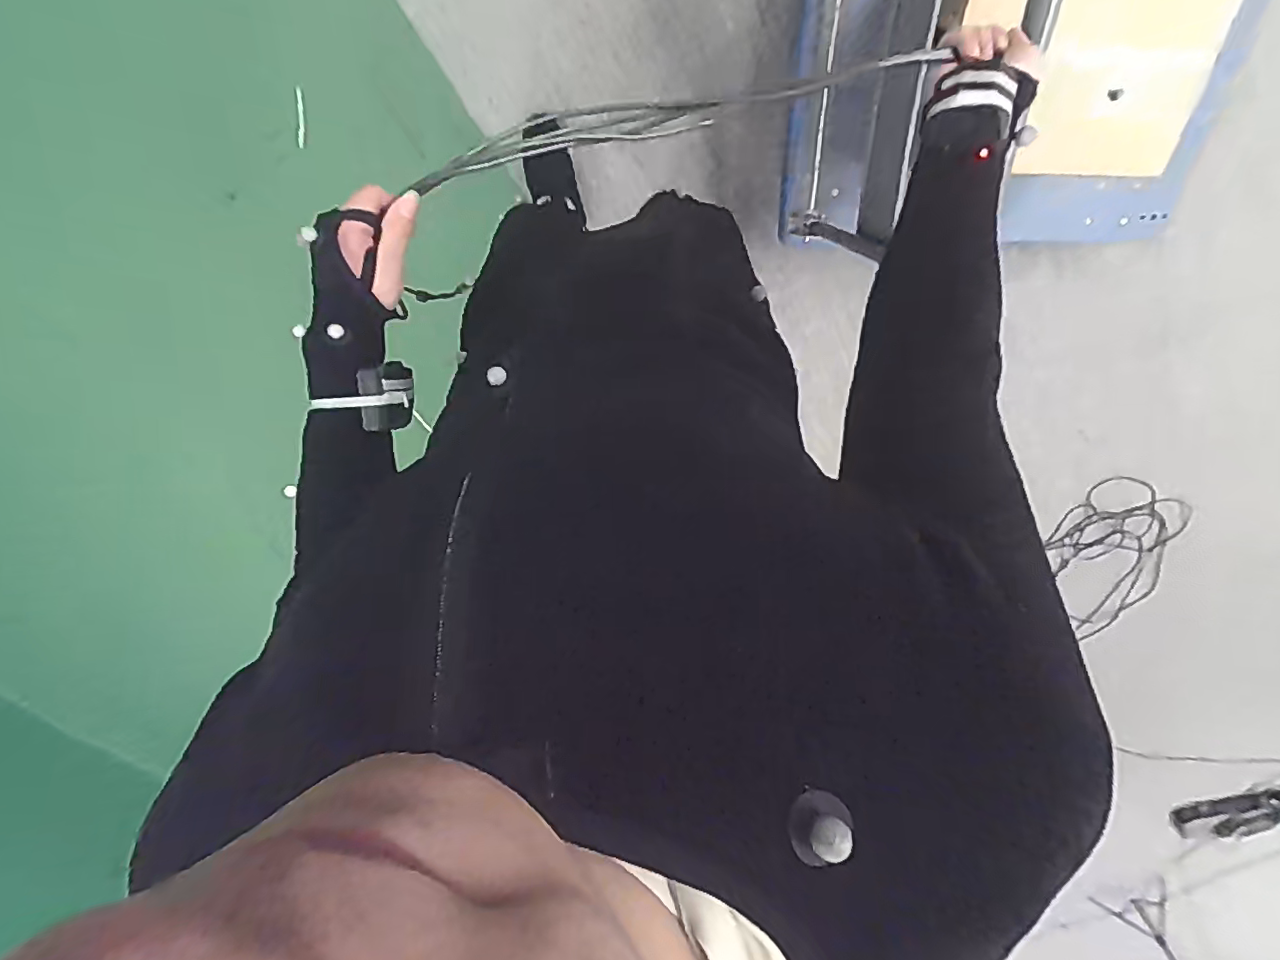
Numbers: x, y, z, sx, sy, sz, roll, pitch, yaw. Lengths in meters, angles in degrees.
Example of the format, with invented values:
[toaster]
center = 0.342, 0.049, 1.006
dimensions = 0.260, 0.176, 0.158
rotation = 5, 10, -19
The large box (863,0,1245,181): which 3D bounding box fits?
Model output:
[large box]
center = 0.667, -0.709, 0.942
dimensions = 0.408, 0.320, 0.320
rotation = 1, 122, -2
